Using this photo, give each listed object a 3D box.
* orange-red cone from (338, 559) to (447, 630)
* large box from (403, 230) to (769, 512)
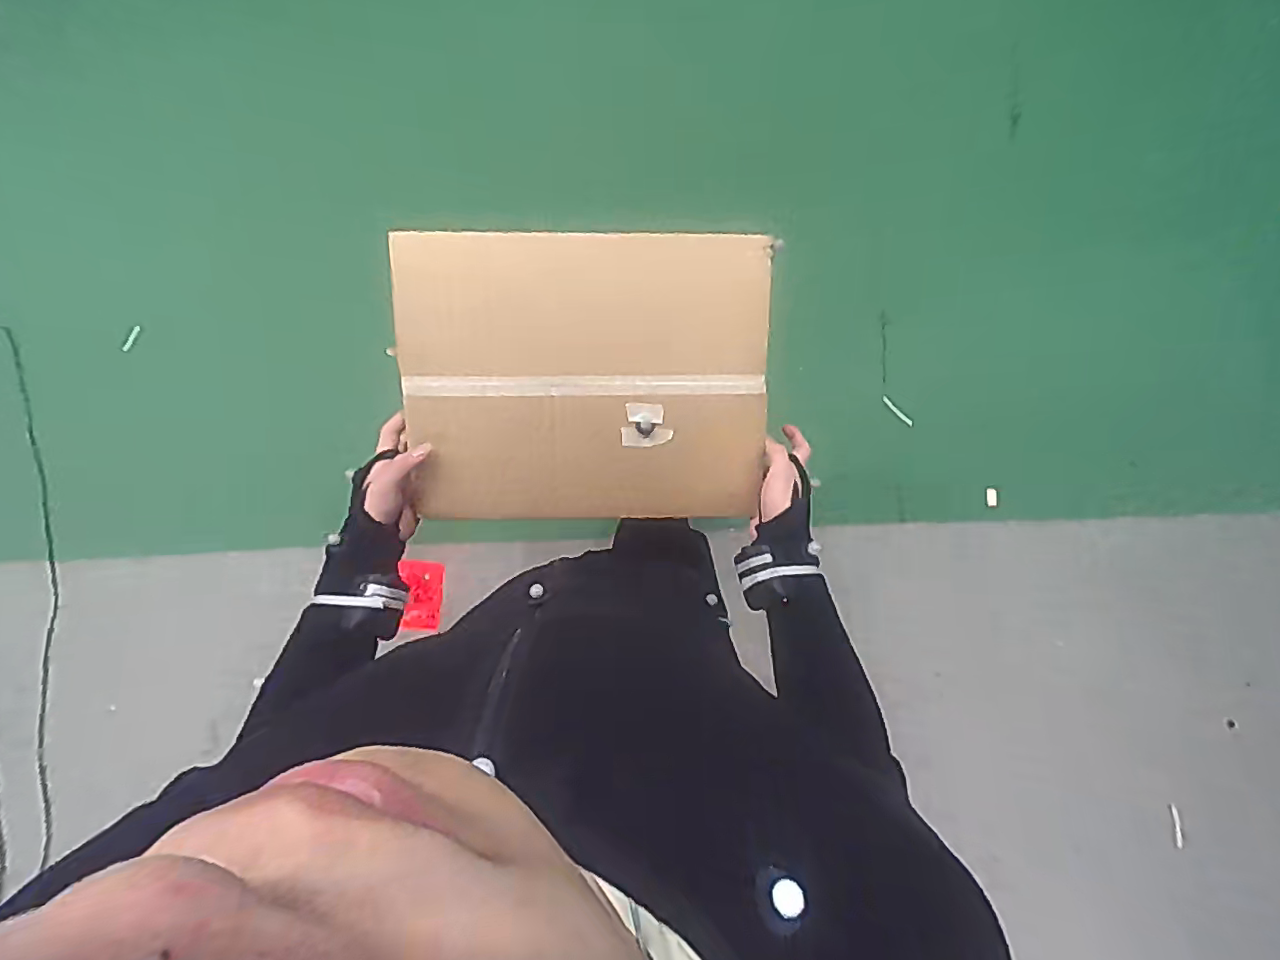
[{"bbox_3d":[-0.687,0.320,1.437,0.199,0.360,0.198,5,84,3],"label":"orange-red cone"},{"bbox_3d":[-0.061,-0.148,0.760,0.408,0.320,0.320,-1,103,-2],"label":"large box"}]
